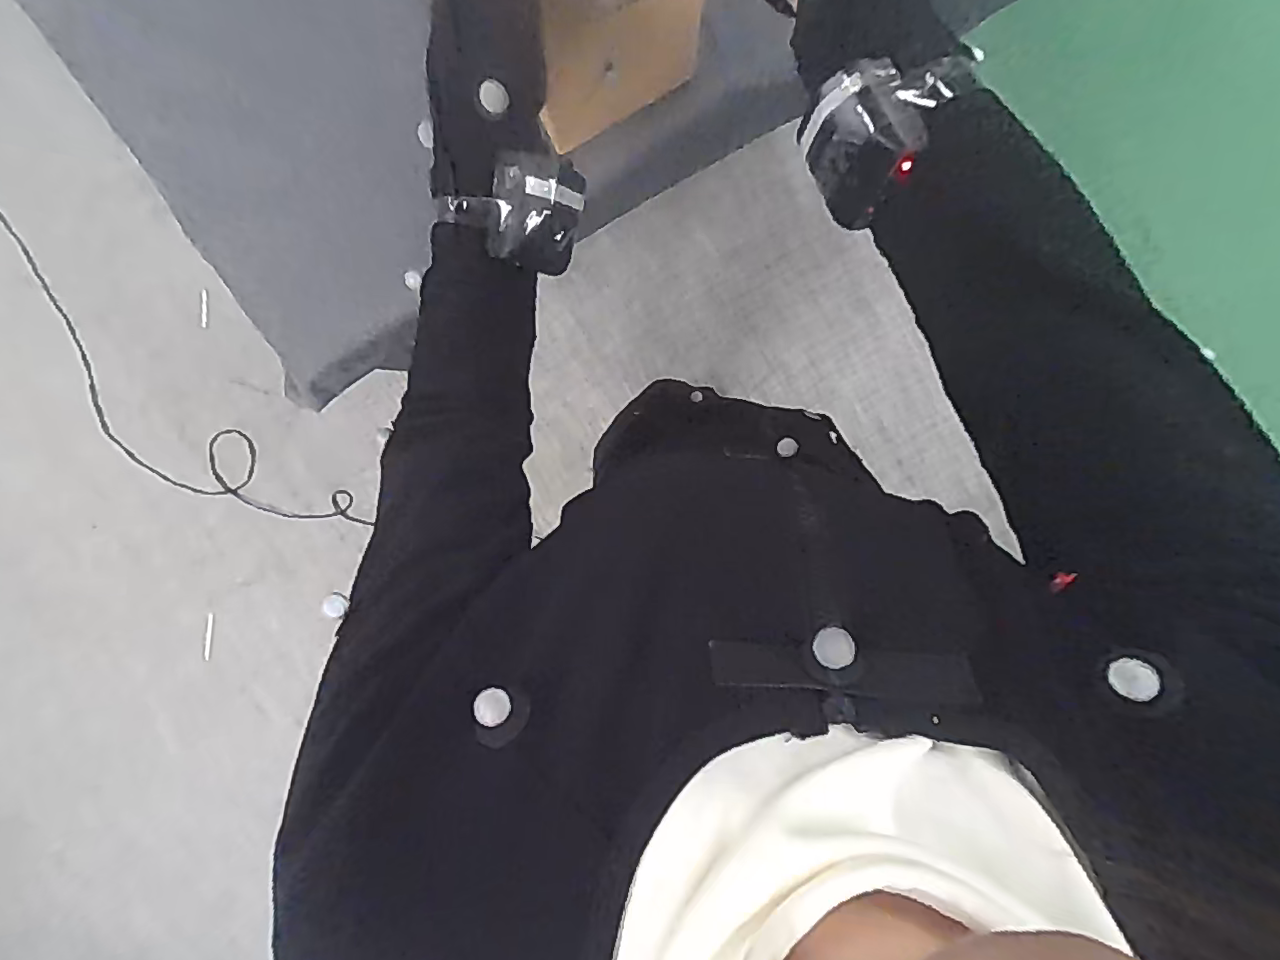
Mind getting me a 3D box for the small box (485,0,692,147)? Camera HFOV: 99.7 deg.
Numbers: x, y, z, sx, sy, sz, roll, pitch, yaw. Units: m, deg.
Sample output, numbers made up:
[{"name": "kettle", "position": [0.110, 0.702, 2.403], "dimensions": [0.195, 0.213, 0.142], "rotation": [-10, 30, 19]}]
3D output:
[{"name": "small box", "position": [-0.055, -0.476, 0.533], "dimensions": [0.179, 0.176, 0.168], "rotation": [-28, 96, 6]}]
